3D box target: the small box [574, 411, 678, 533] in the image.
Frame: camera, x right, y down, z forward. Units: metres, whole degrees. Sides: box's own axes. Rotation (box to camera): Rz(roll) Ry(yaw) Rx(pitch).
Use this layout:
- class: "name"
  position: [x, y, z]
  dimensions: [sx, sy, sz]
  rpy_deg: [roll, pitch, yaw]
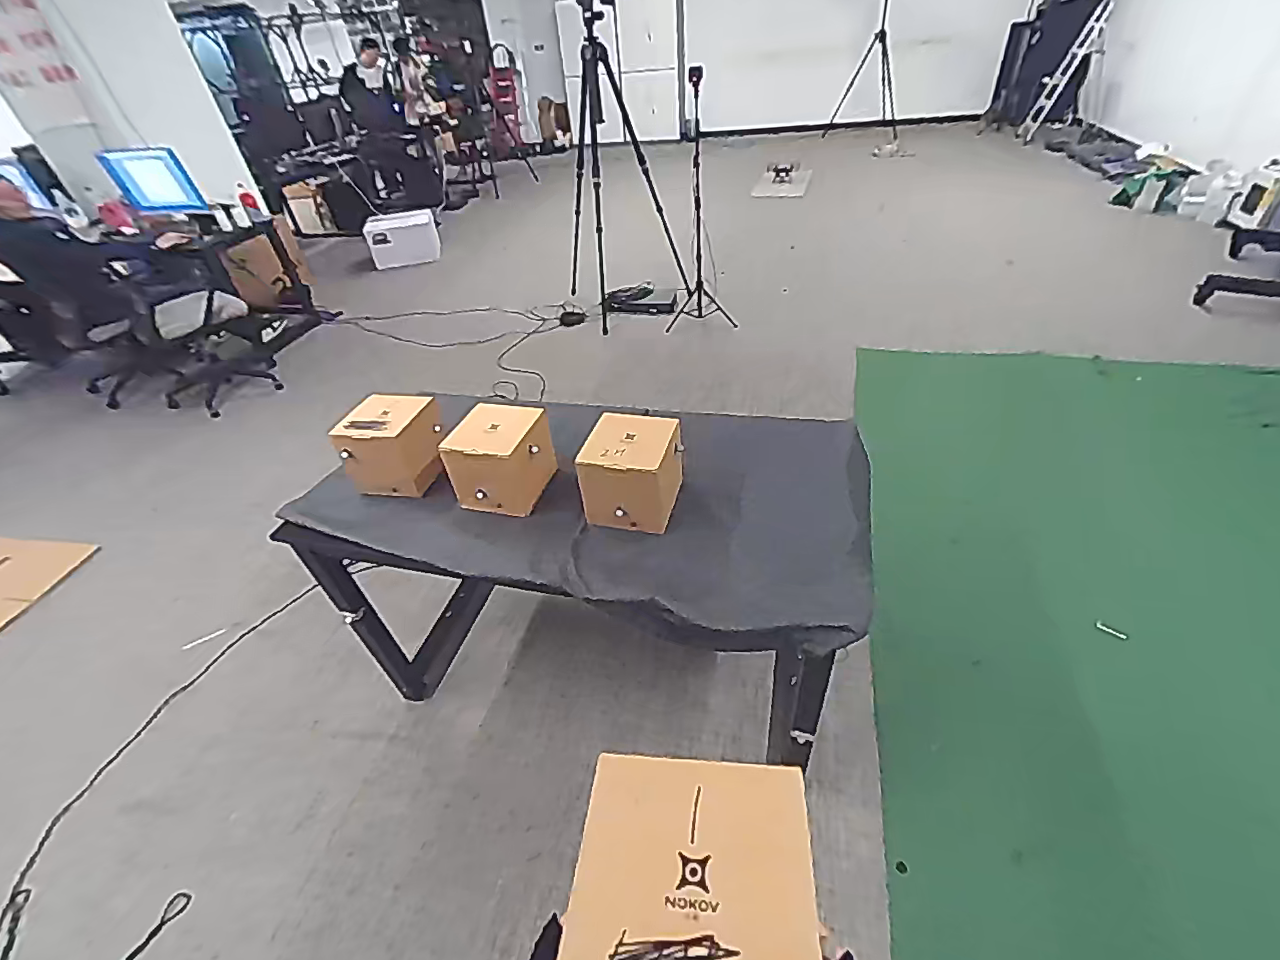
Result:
- class: "small box"
  position: [-0.020, -0.019, 1.112]
  dimensions: [0.168, 0.176, 0.179]
  rpy_deg: [8, 42, 15]

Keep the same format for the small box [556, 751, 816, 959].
- class: "small box"
  position: [0.043, 0.342, 0.416]
  dimensions: [0.168, 0.176, 0.179]
  rpy_deg: [0, 35, 10]

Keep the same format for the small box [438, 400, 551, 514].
- class: "small box"
  position: [-0.307, -0.053, 1.186]
  dimensions: [0.168, 0.176, 0.179]
  rpy_deg: [8, 42, 14]
